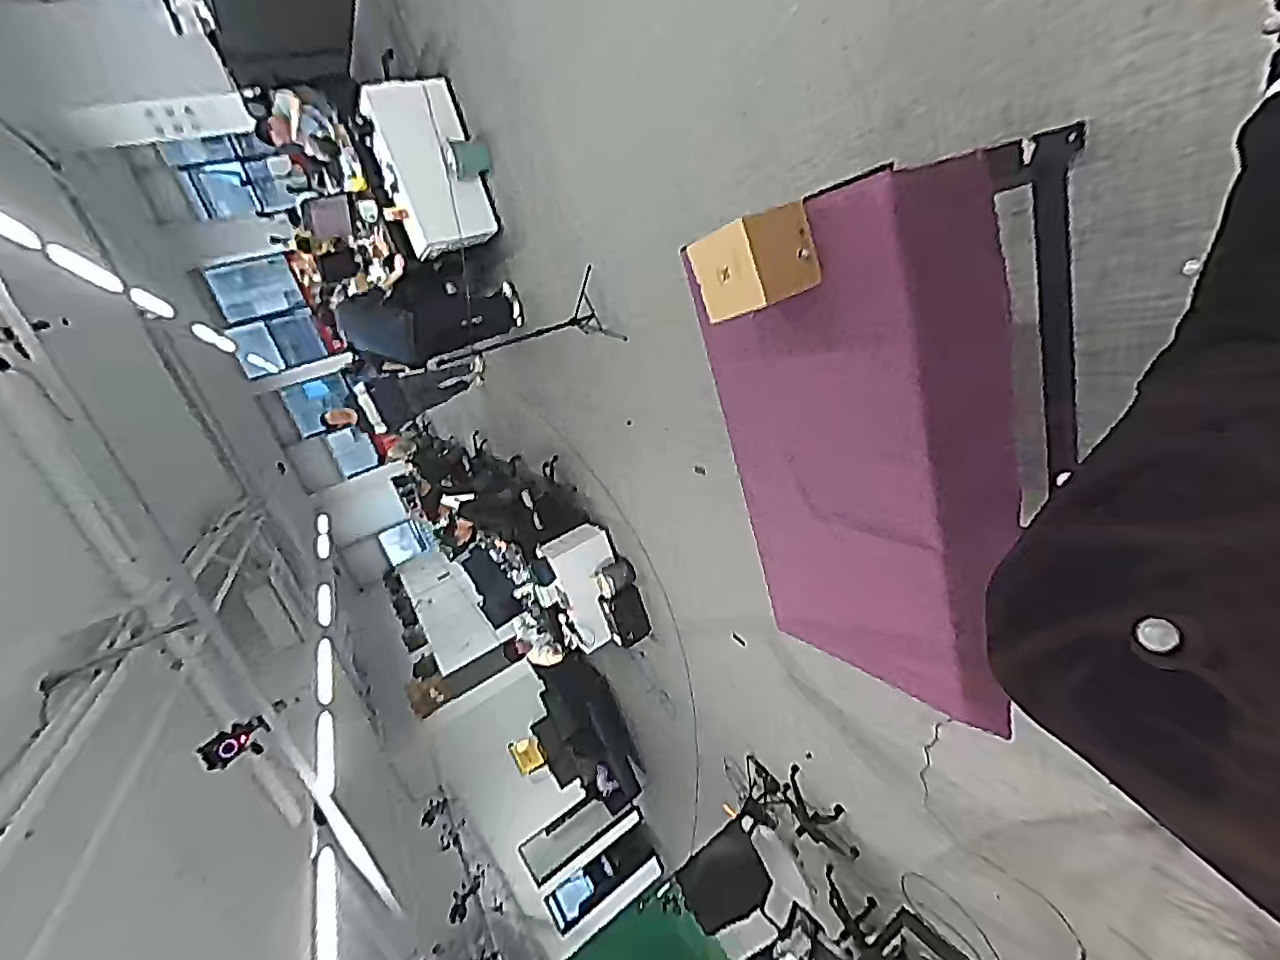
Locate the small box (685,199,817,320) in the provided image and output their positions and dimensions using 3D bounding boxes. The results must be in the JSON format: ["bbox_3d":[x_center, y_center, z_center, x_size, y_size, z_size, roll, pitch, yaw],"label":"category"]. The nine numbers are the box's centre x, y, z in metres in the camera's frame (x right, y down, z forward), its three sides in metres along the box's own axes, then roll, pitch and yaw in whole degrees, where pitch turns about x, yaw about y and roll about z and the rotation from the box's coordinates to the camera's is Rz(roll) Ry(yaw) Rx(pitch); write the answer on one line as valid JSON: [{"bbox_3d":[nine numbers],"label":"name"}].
[{"bbox_3d":[0.225,-0.444,1.101,0.179,0.176,0.168,9,124,61],"label":"small box"}]
